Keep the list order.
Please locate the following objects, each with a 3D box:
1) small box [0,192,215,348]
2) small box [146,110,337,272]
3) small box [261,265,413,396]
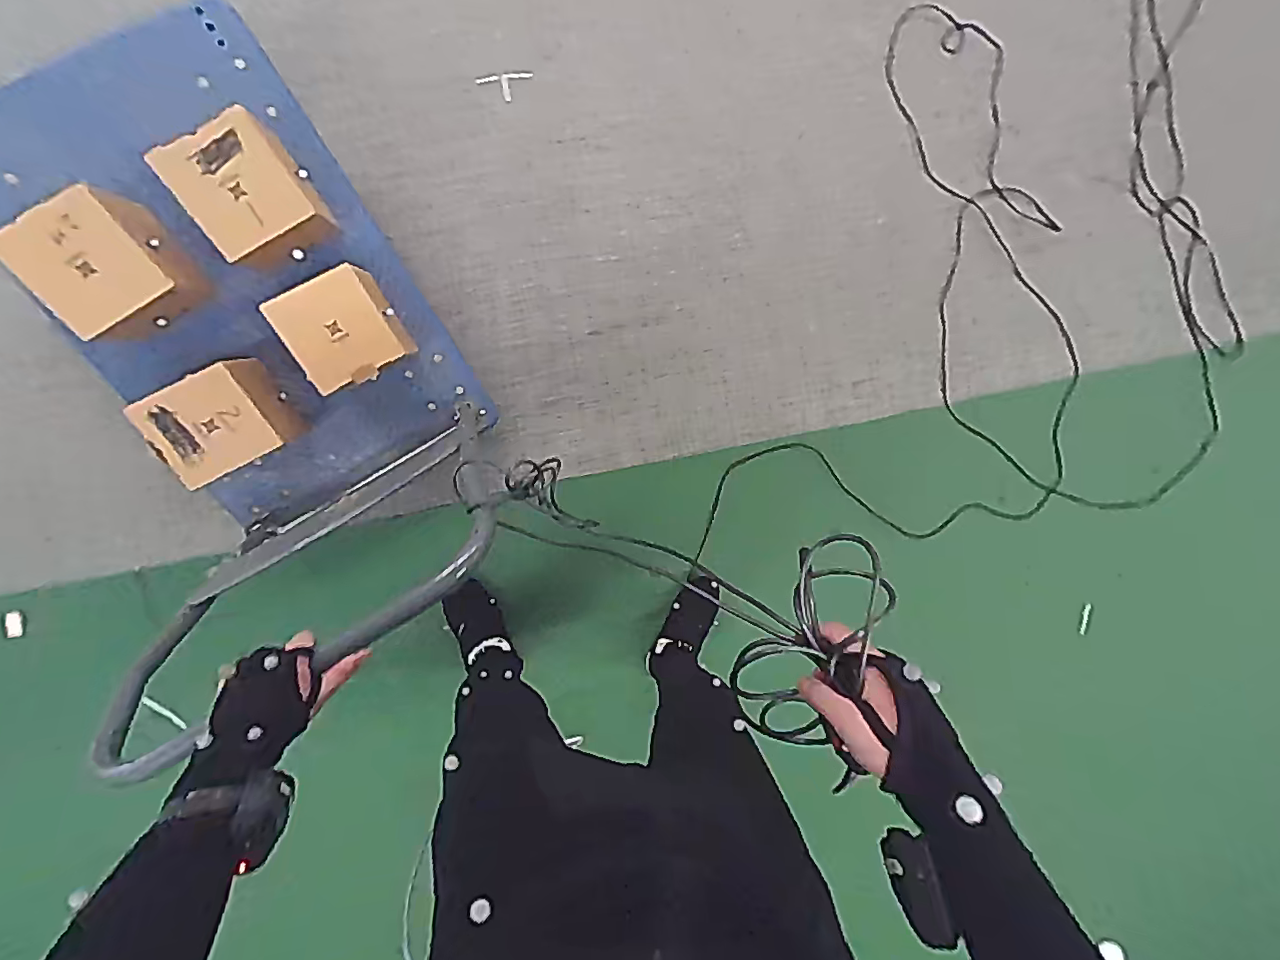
[{"bbox_3d":[-0.882,-0.344,0.912,0.168,0.176,0.179,-36,111,-4],"label":"small box"},{"bbox_3d":[-0.668,-0.483,0.933,0.168,0.176,0.179,-34,111,-4],"label":"small box"},{"bbox_3d":[-0.556,-0.280,1.021,0.168,0.176,0.179,-31,112,-6],"label":"small box"}]
